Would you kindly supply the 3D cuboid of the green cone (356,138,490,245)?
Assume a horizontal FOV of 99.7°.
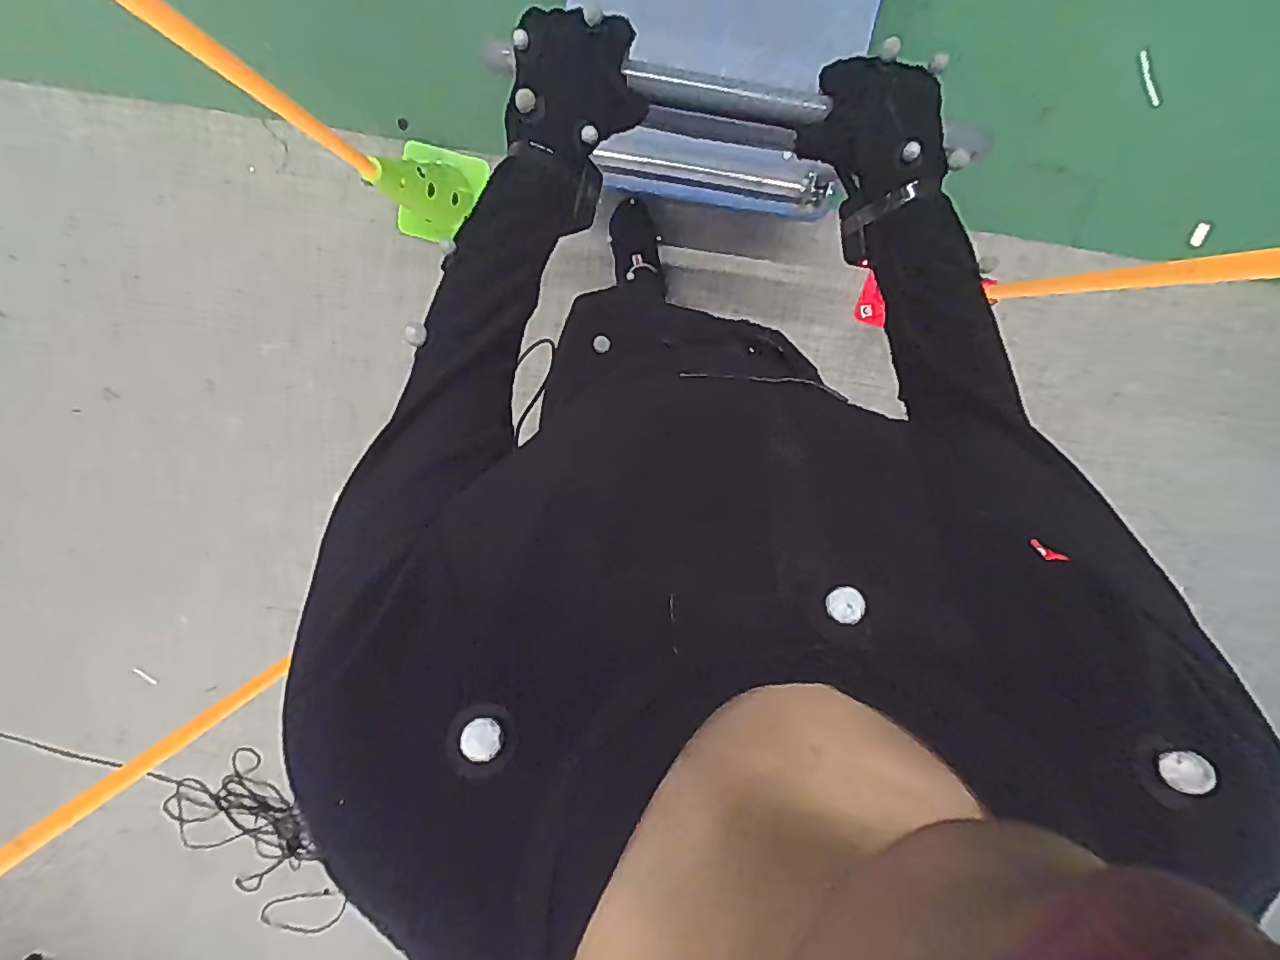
[{"bbox_3d":[-0.468,-0.621,1.116,0.202,0.368,0.200,13,110,-2],"label":"green cone"}]
